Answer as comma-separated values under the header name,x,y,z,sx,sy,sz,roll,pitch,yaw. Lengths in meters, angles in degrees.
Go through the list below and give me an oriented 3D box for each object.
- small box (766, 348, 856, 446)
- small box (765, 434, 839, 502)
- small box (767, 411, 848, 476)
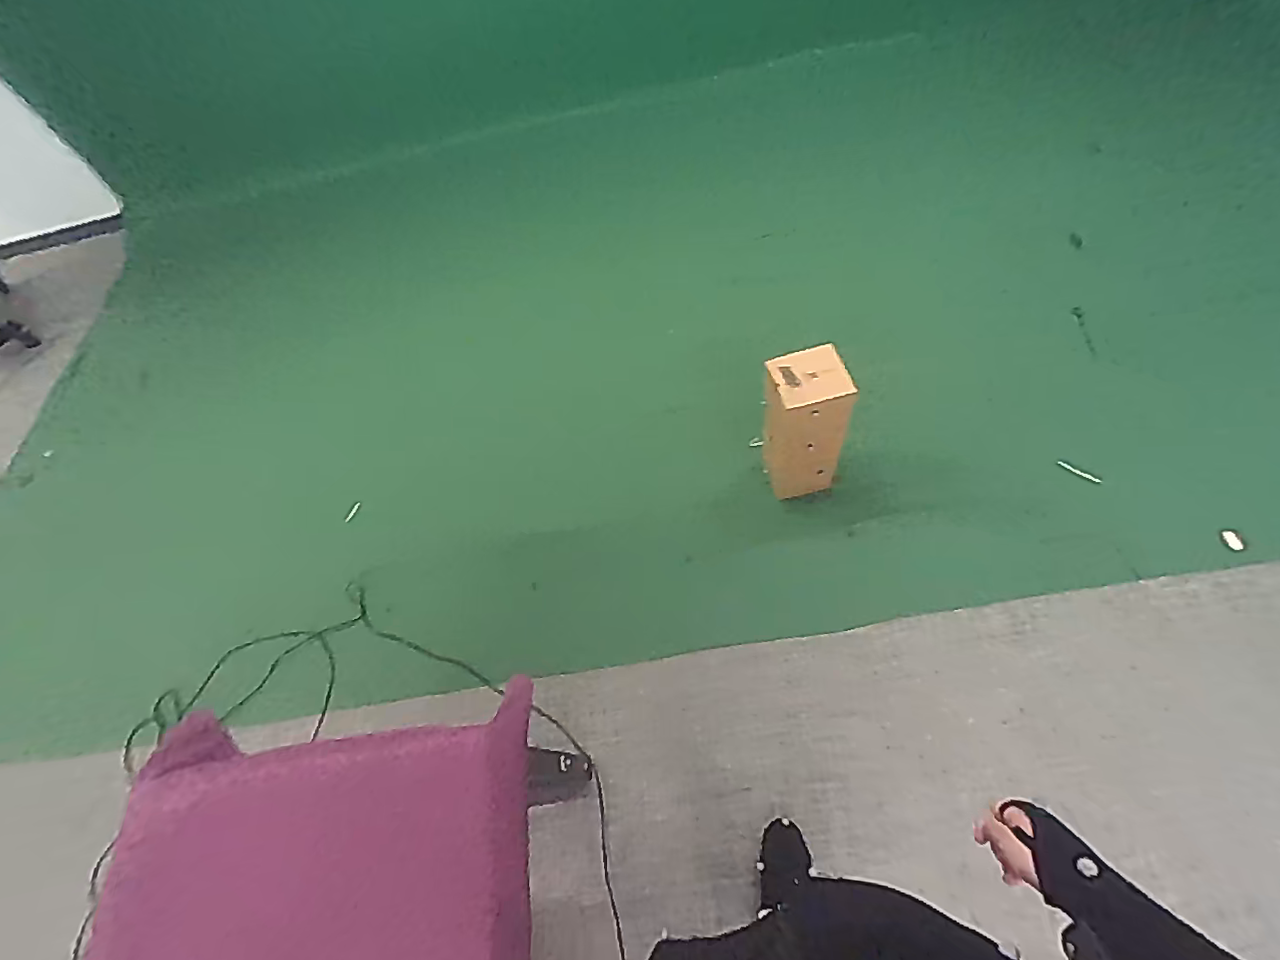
name,x,y,z,sx,sy,sz,roll,pitch,yaw
small box,0.439,-0.212,1.415,0.179,0.176,0.168,-15,59,2
small box,0.499,-0.053,1.694,0.179,0.176,0.168,-14,58,3
small box,0.472,-0.134,1.556,0.179,0.176,0.168,-13,59,4
